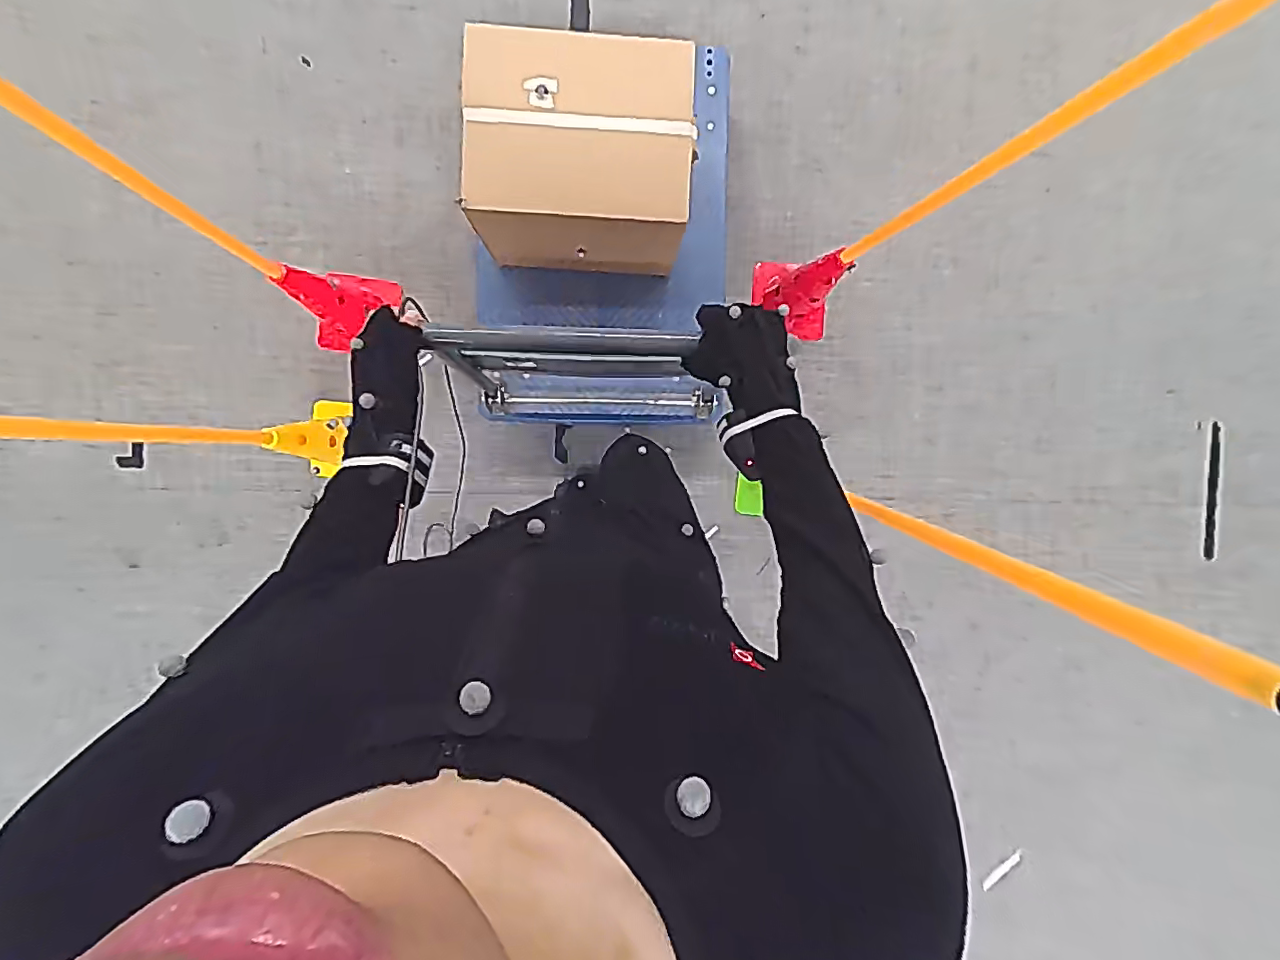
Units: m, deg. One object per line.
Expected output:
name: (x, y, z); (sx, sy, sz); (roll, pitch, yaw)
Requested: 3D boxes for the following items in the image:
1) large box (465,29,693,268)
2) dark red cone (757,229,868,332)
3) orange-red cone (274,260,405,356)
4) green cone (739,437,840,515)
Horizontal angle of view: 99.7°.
large box: (-0.110, -0.639, 1.102); (0.408, 0.320, 0.320); (2, 94, -2)
dark red cone: (0.418, -0.483, 1.257); (0.201, 0.394, 0.202); (1, 94, -4)
orange-red cone: (-0.715, -0.427, 1.240); (0.198, 0.360, 0.199); (9, 92, -3)
green cone: (0.382, -0.001, 1.301); (0.202, 0.368, 0.200); (5, 93, -4)
